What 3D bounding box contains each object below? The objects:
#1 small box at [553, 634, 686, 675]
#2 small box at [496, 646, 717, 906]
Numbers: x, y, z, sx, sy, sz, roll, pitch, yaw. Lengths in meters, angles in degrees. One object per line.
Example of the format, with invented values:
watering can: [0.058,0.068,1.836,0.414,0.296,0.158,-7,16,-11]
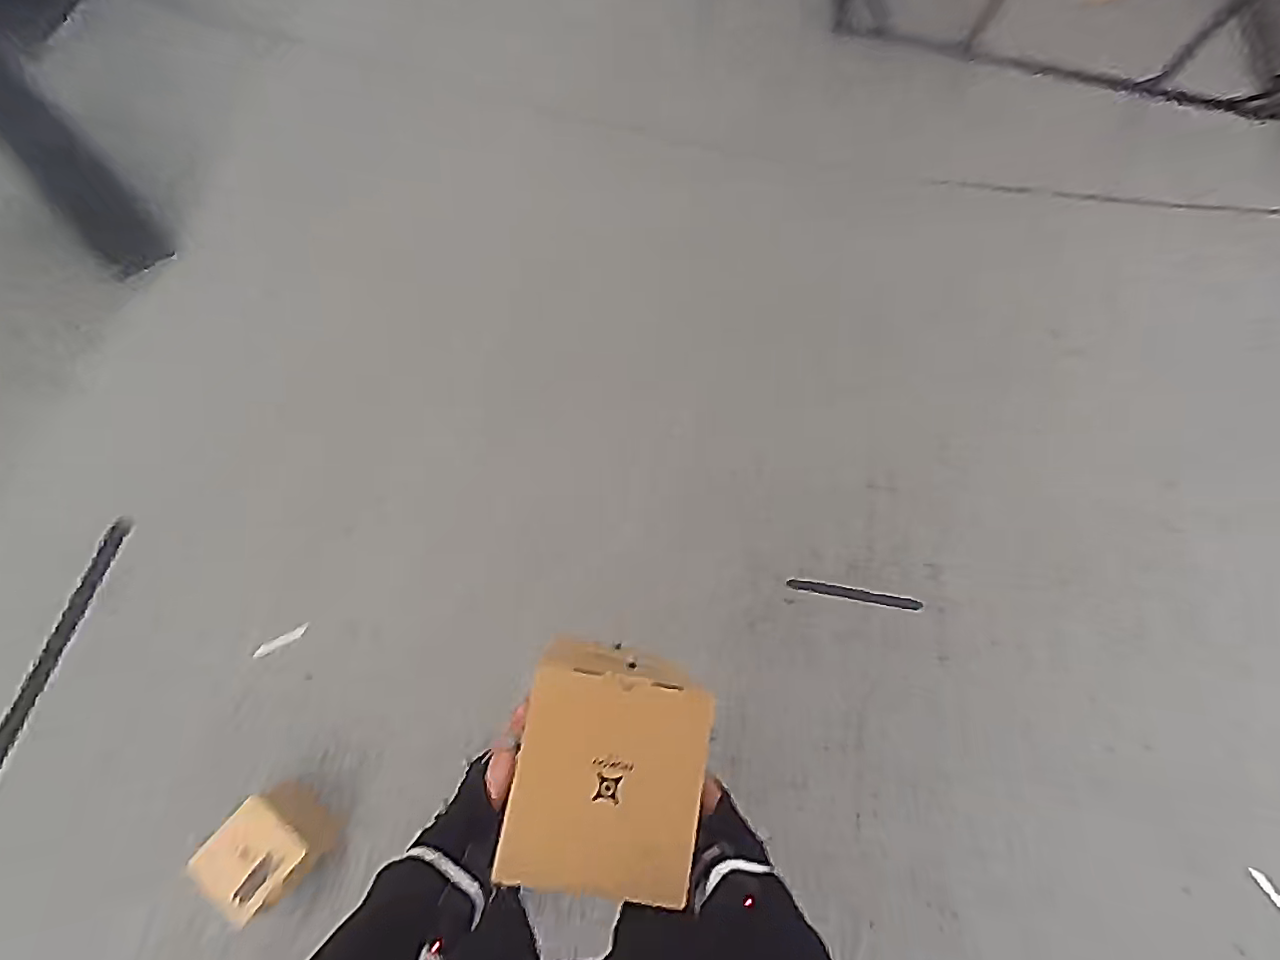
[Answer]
small box: [-0.051,0.304,0.702,0.168,0.176,0.179,14,76,-4]
small box: [-0.033,0.274,0.543,0.168,0.176,0.179,12,76,-5]
